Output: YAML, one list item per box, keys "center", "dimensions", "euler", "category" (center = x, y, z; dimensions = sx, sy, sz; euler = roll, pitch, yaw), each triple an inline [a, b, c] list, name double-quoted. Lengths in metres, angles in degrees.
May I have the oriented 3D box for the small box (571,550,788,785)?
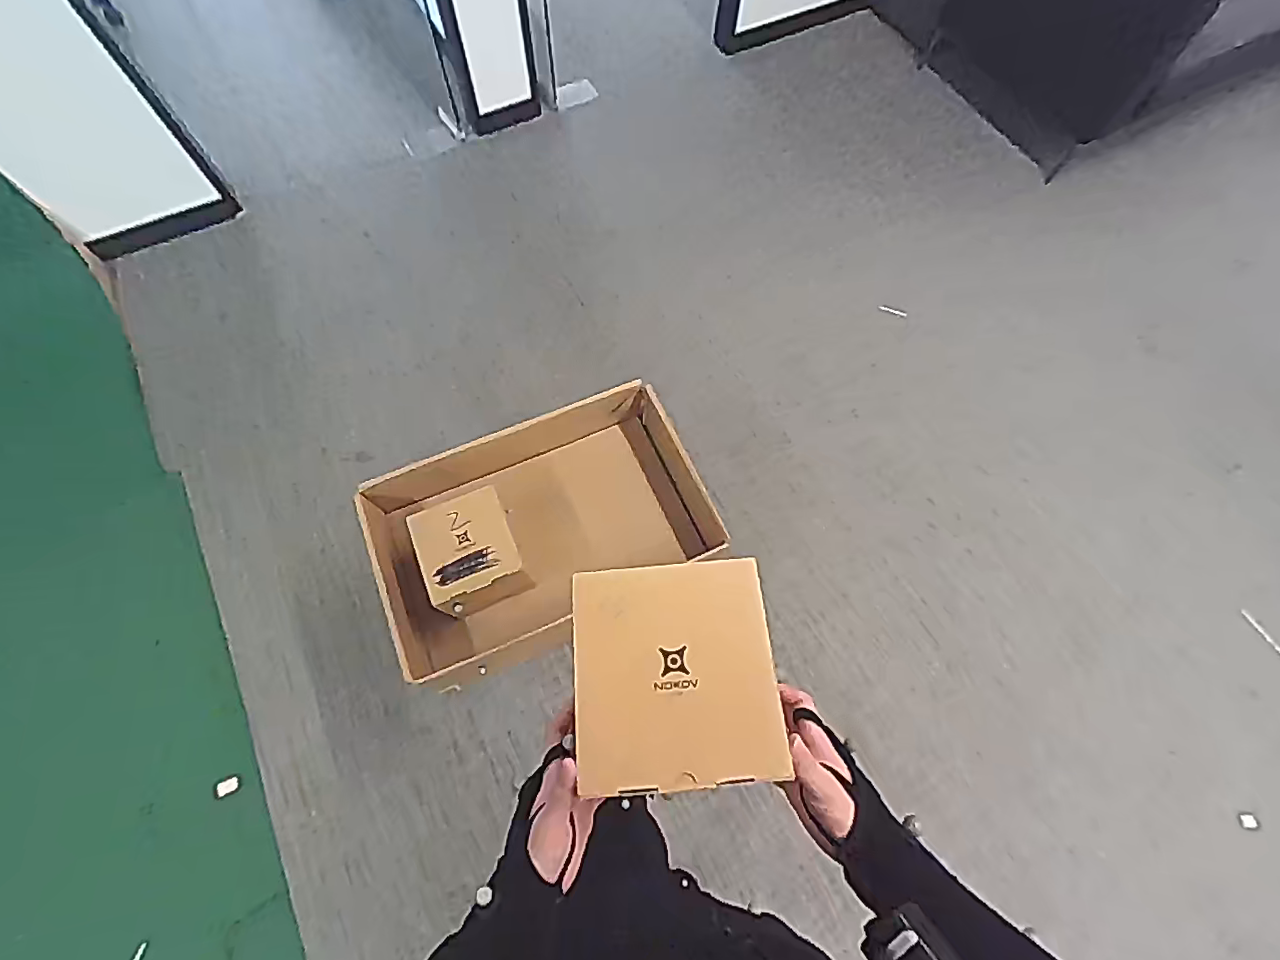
- center: [0.027, 0.180, 0.516]
  dimensions: [0.168, 0.176, 0.179]
  euler: [-5, 65, -1]
  category: "small box"
